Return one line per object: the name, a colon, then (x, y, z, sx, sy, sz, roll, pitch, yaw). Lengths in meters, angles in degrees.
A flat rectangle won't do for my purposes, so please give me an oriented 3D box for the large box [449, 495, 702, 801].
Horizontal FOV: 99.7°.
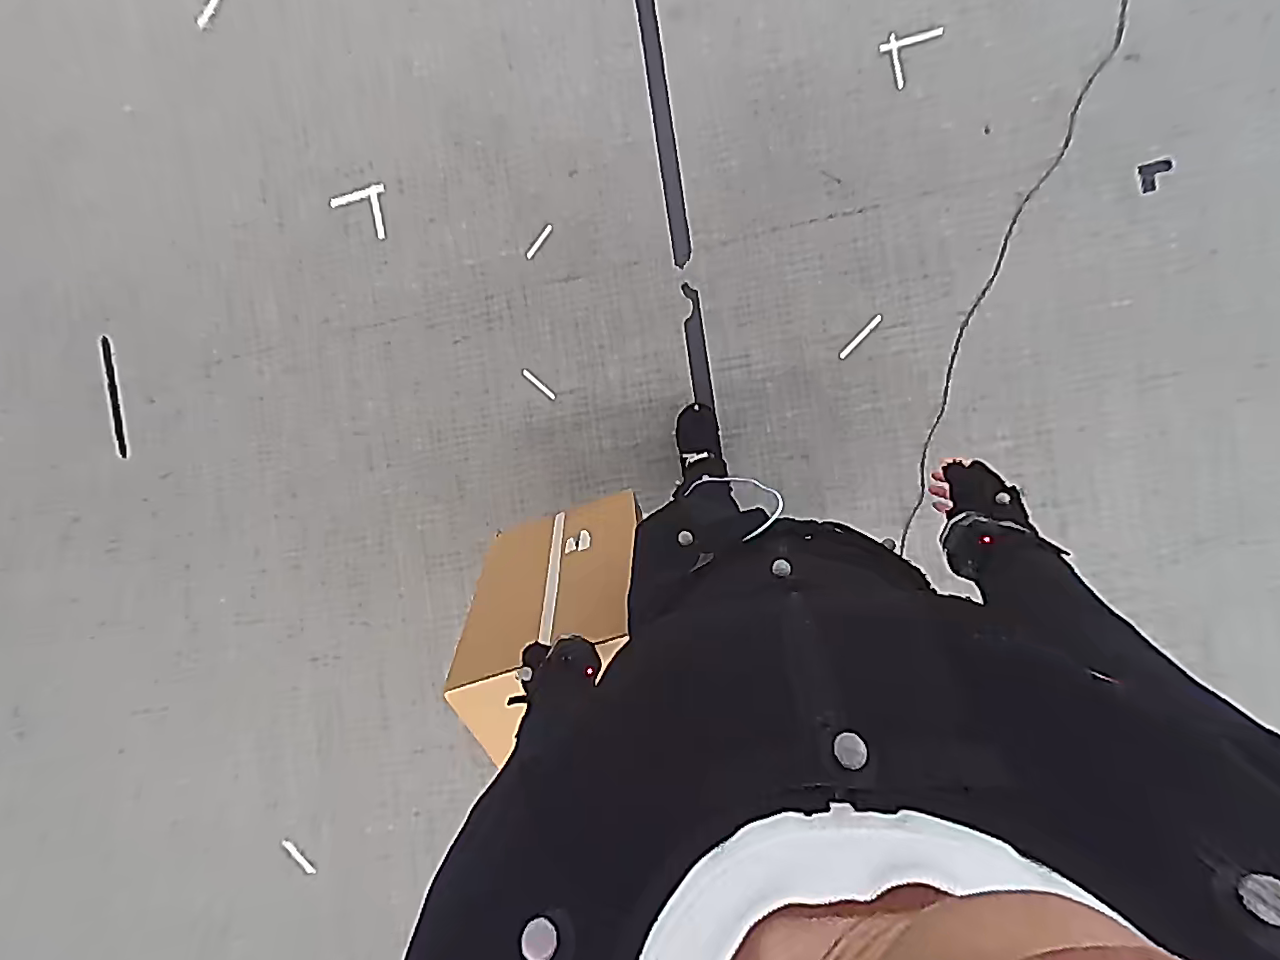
large box: (-0.099, 0.290, 1.012, 0.320, 0.408, 0.320, -18, 116, 6)
